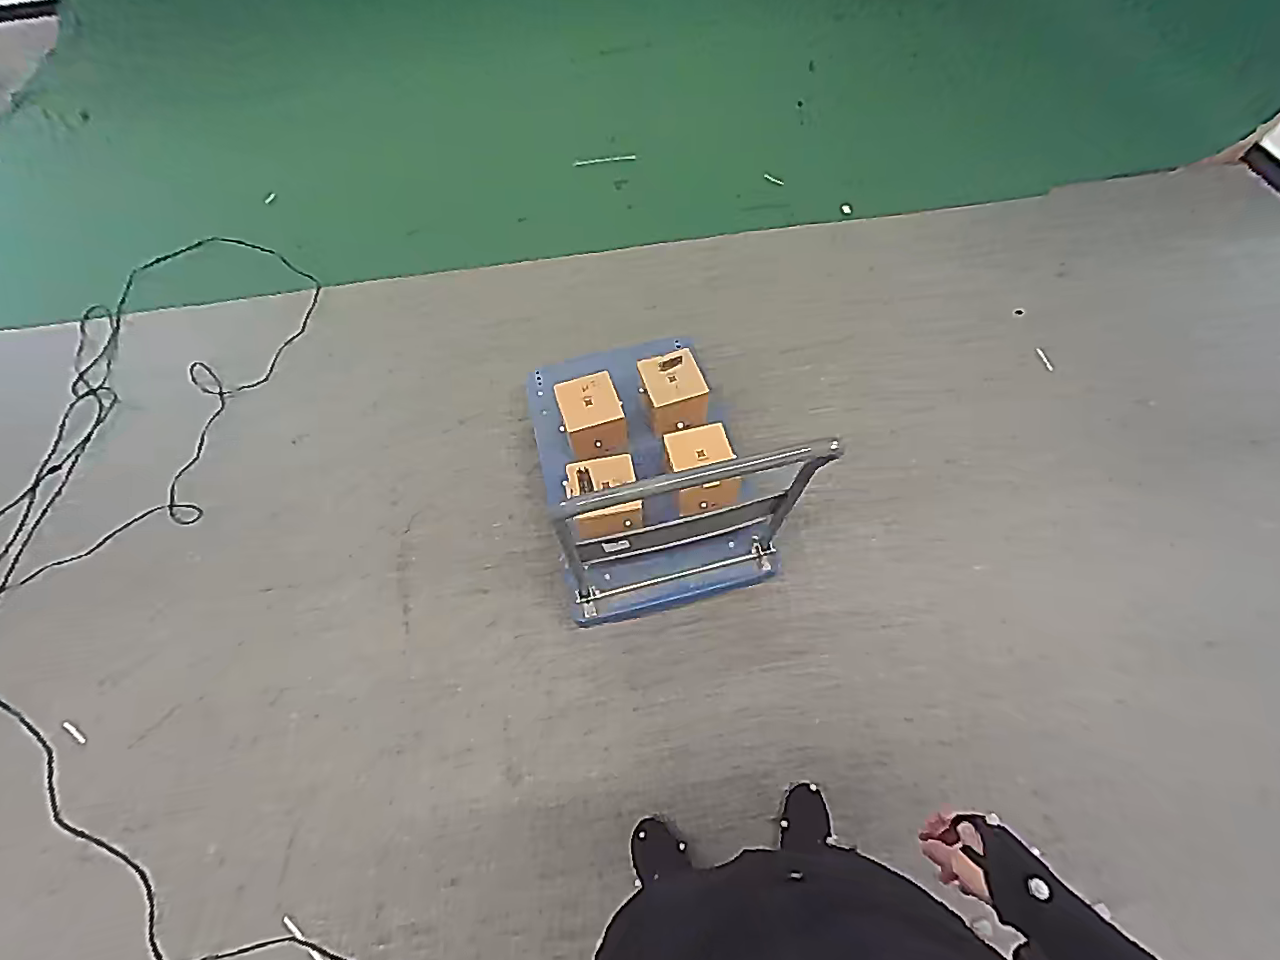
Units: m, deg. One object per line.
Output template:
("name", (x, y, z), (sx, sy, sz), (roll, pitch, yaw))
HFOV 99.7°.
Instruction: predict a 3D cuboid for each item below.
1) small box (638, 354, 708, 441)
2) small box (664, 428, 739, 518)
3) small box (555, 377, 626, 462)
("small box", (0.096, -0.247, 1.645), (0.168, 0.176, 0.179), (-17, 63, -6))
("small box", (0.164, -0.017, 1.519), (0.168, 0.176, 0.179), (-13, 62, -5))
("small box", (-0.143, -0.172, 1.614), (0.168, 0.176, 0.179), (-16, 62, -8))
